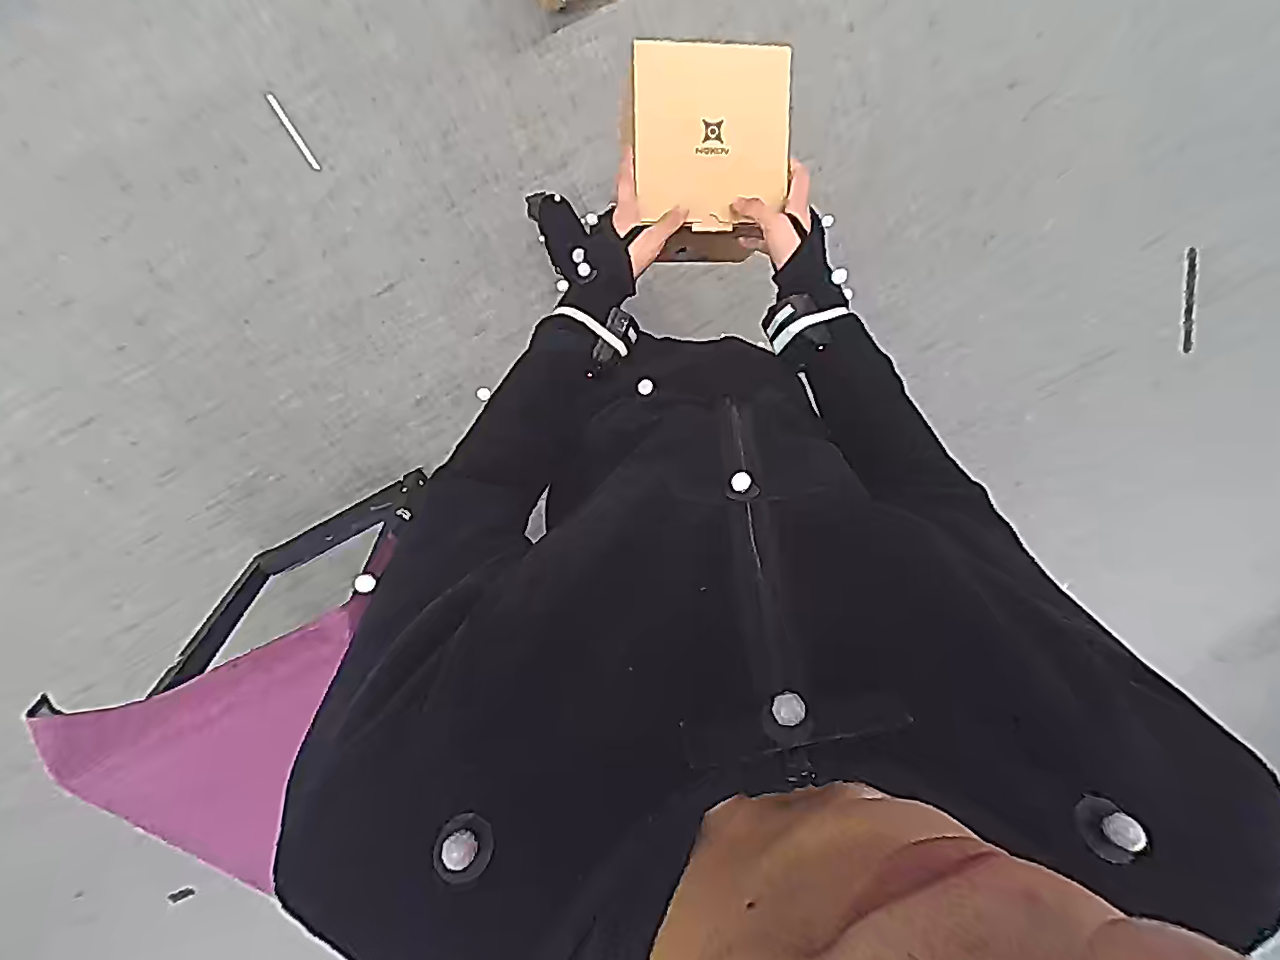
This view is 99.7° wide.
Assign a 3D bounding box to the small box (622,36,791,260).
[{"bbox_3d":[0.067,-0.372,0.638,0.168,0.176,0.179,-2,100,-5],"label":"small box"}]
